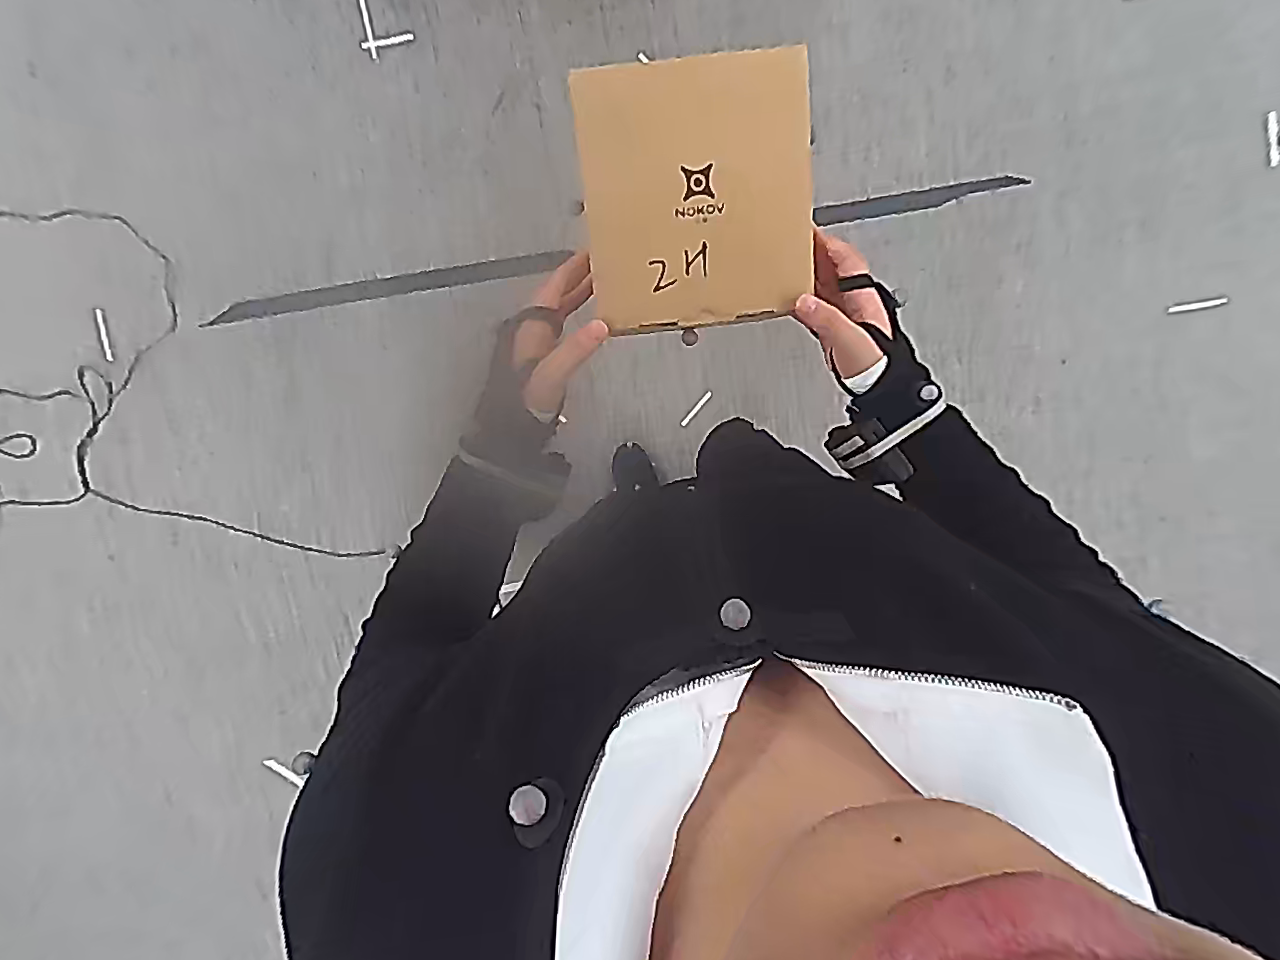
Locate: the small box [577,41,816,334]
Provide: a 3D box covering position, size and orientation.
[{"bbox_3d":[0.041,-0.226,0.465,0.168,0.176,0.179,-6,103,0],"label":"small box"}]
